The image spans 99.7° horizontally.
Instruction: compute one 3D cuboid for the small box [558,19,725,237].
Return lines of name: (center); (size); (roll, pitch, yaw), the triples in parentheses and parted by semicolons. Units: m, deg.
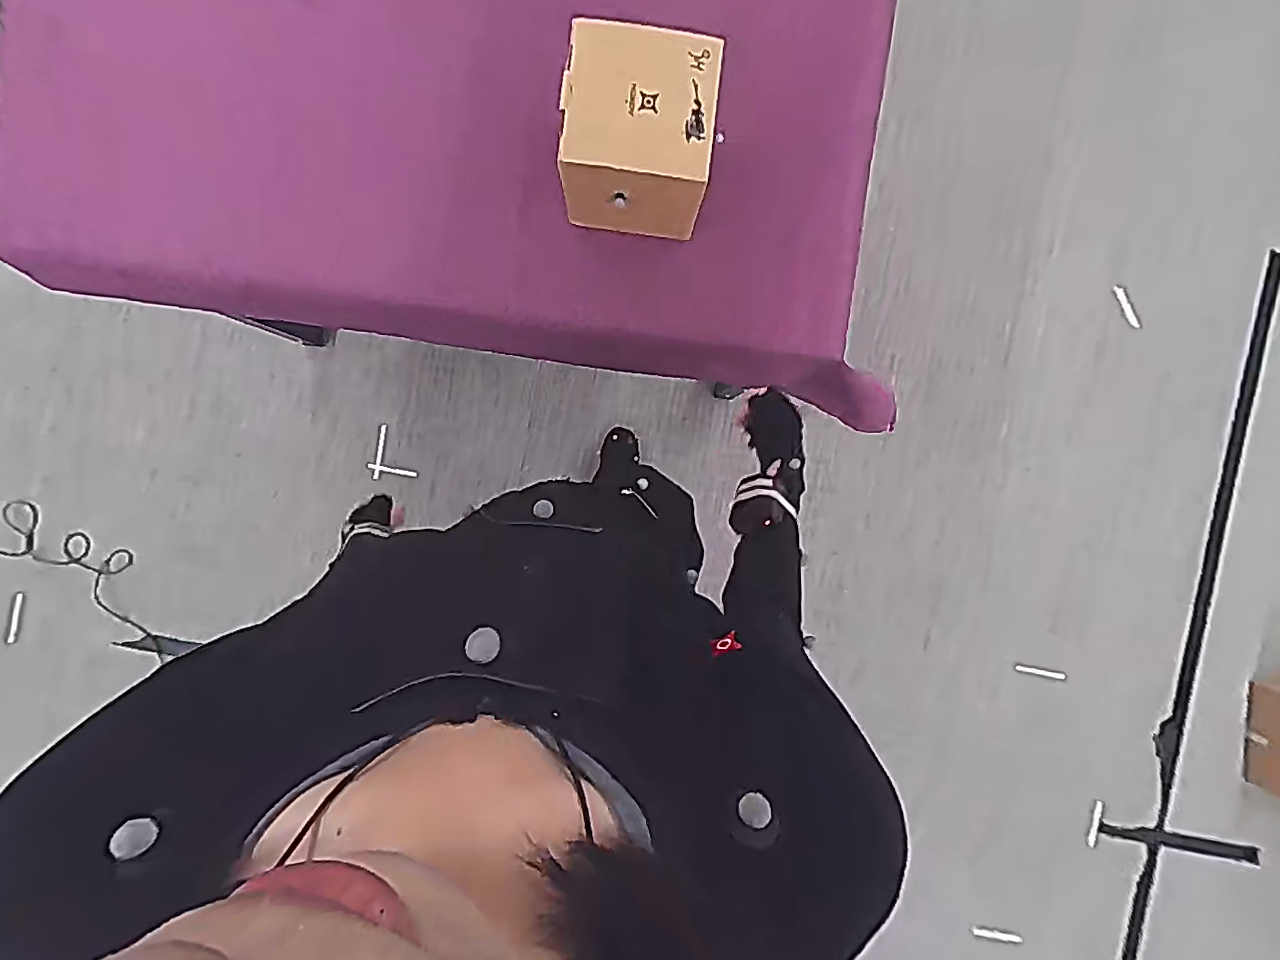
small box: (0.000, -0.434, 0.696); (0.179, 0.176, 0.168); (7, 91, -1)
